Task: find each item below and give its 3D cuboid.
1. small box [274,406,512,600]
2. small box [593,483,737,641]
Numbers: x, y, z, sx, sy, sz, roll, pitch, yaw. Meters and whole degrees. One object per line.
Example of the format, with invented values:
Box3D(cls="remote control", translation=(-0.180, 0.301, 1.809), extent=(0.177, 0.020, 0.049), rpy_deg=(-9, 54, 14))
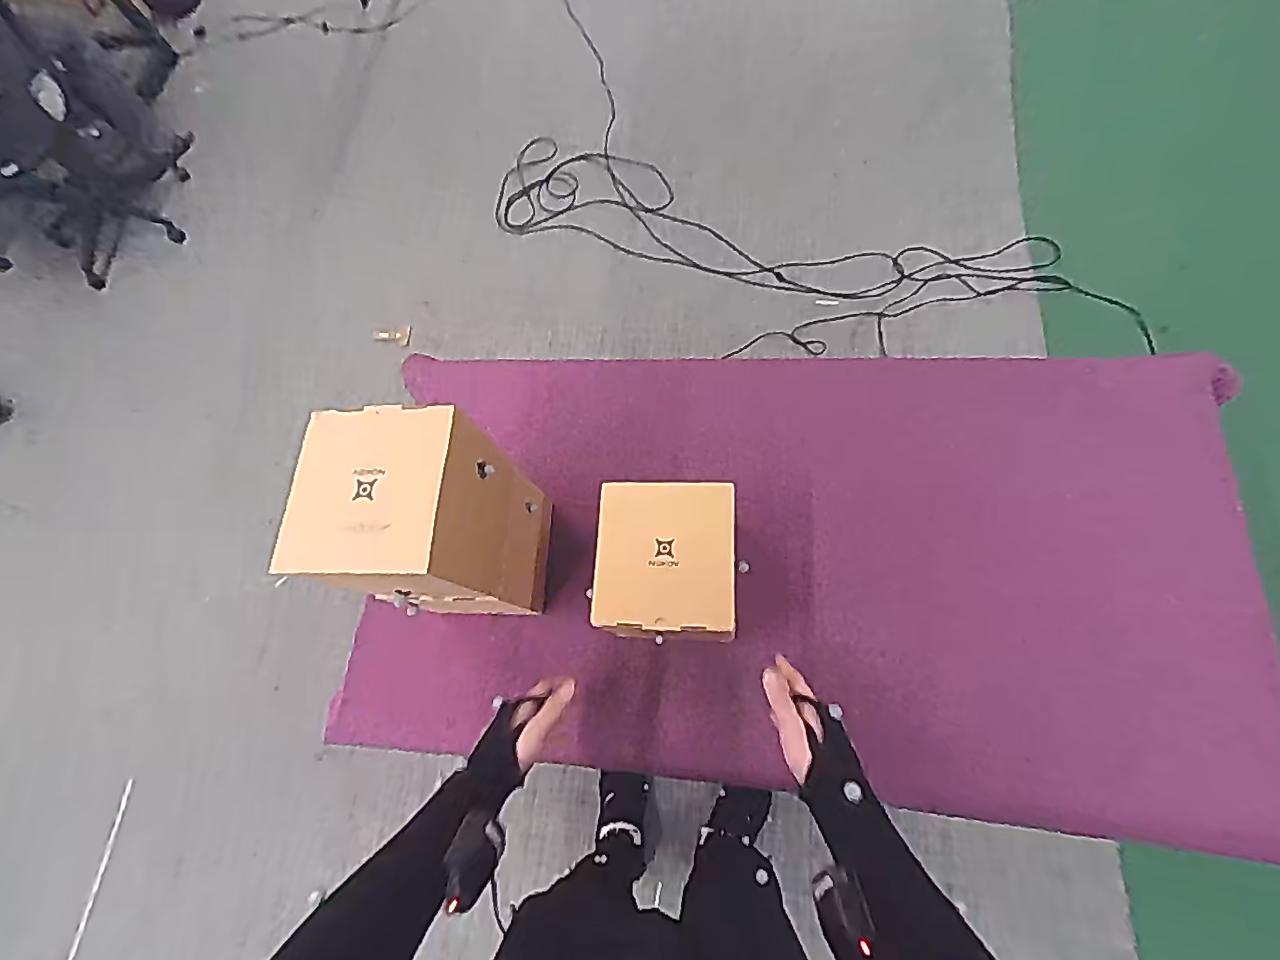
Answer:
Box3D(cls="small box", translation=(-0.256, 0.033, 0.610), extent=(0.168, 0.176, 0.179), rpy_deg=(0, 70, 9))
Box3D(cls="small box", translation=(0.041, 0.114, 0.715), extent=(0.168, 0.176, 0.179), rpy_deg=(1, 71, 9))
